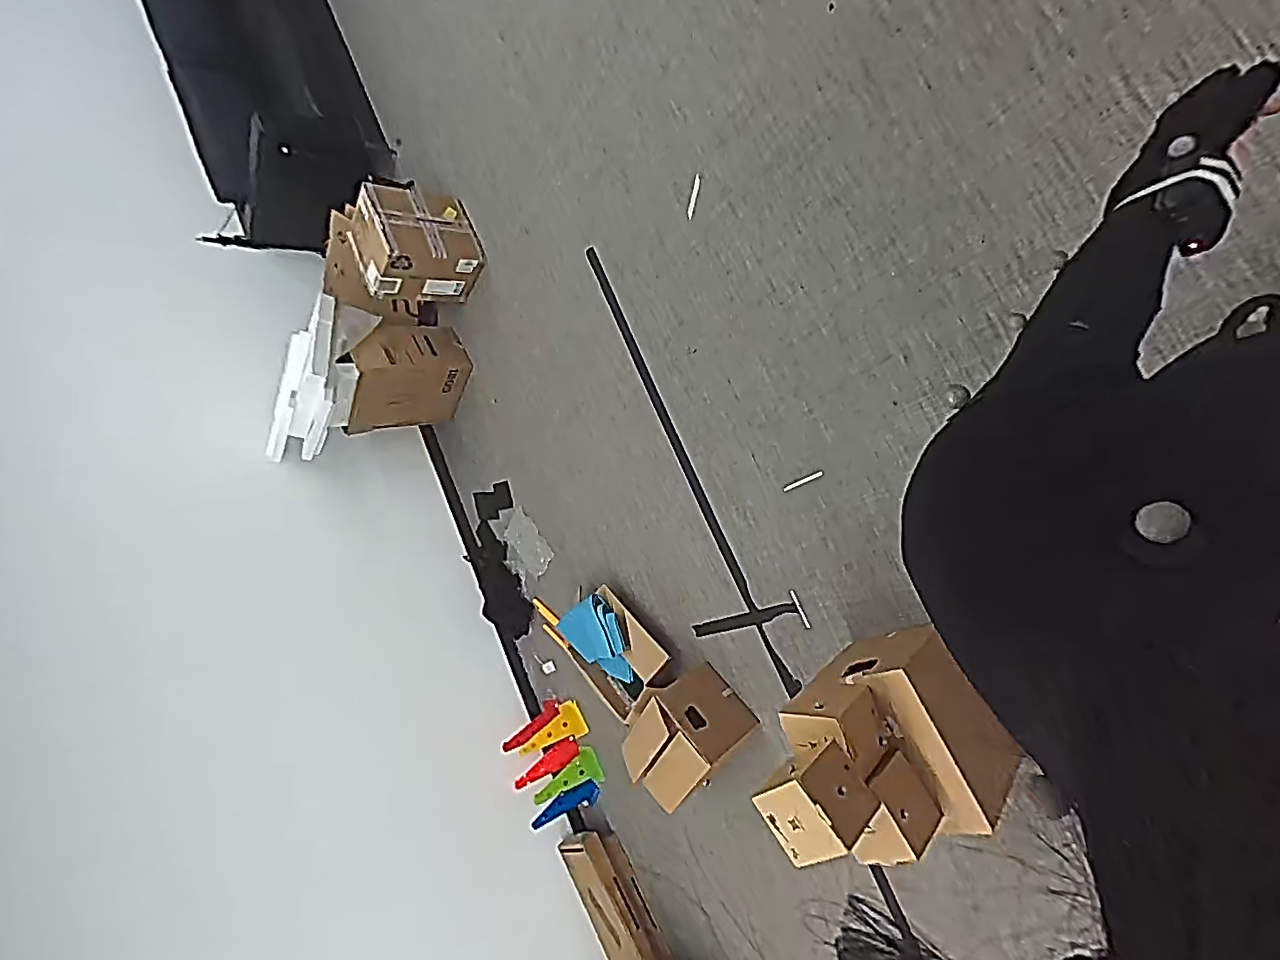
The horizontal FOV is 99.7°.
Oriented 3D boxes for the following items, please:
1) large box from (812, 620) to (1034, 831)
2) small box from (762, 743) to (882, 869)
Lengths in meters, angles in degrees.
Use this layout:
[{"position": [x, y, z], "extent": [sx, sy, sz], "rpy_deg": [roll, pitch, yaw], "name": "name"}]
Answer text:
[{"position": [0.756, 0.651, 1.455], "extent": [0.320, 0.320, 0.408], "rpy_deg": [-39, 72, 44], "name": "large box"}, {"position": [0.420, 0.735, 1.231], "extent": [0.168, 0.176, 0.179], "rpy_deg": [54, 133, 21], "name": "small box"}]
